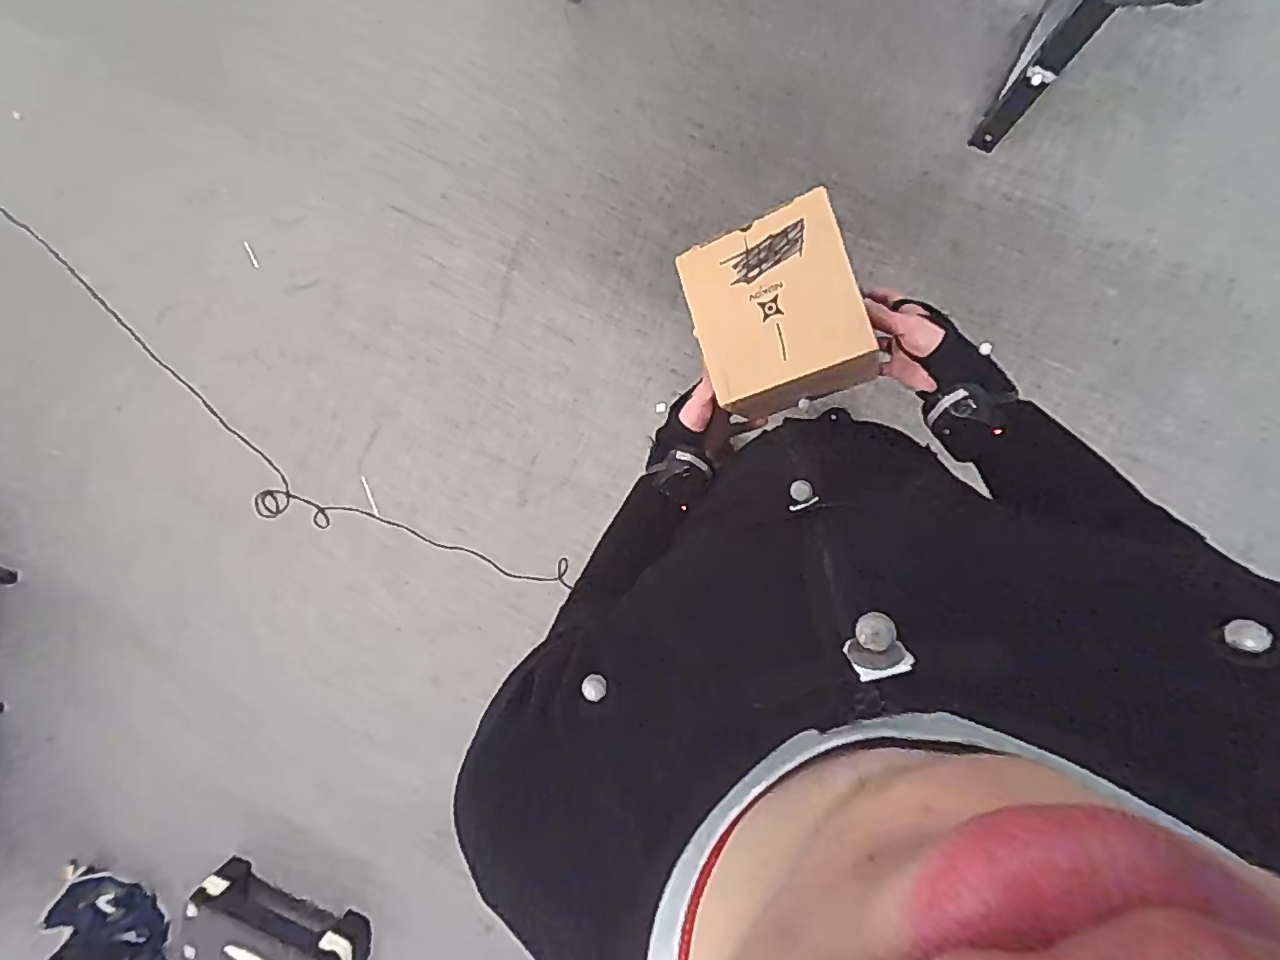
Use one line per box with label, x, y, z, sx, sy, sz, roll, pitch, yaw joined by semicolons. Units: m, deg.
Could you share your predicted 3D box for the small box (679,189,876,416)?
small box;0.165;-0.187;0.631;0.168;0.176;0.179;-17;84;23
